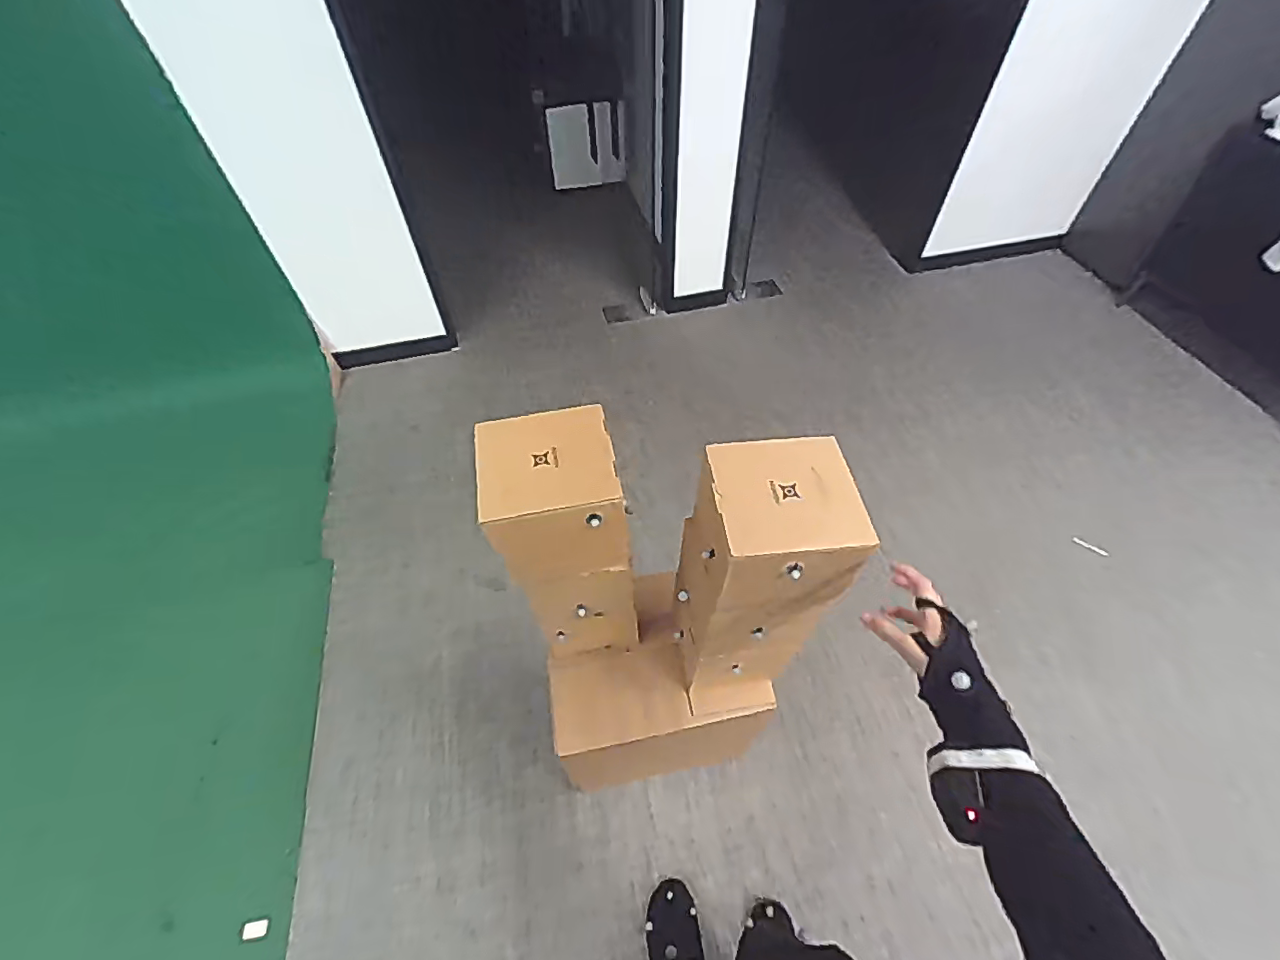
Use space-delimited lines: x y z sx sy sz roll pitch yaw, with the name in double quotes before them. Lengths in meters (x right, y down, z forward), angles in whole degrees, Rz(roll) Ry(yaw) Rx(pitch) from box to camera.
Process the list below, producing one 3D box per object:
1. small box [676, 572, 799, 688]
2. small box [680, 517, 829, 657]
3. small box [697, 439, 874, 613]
"small box" 0.165 0.263 0.977 0.179 0.176 0.168 -8 55 -4
"small box" 0.166 0.162 0.847 0.179 0.176 0.168 -7 53 -5
"small box" 0.173 0.066 0.716 0.179 0.176 0.168 -4 54 -4
